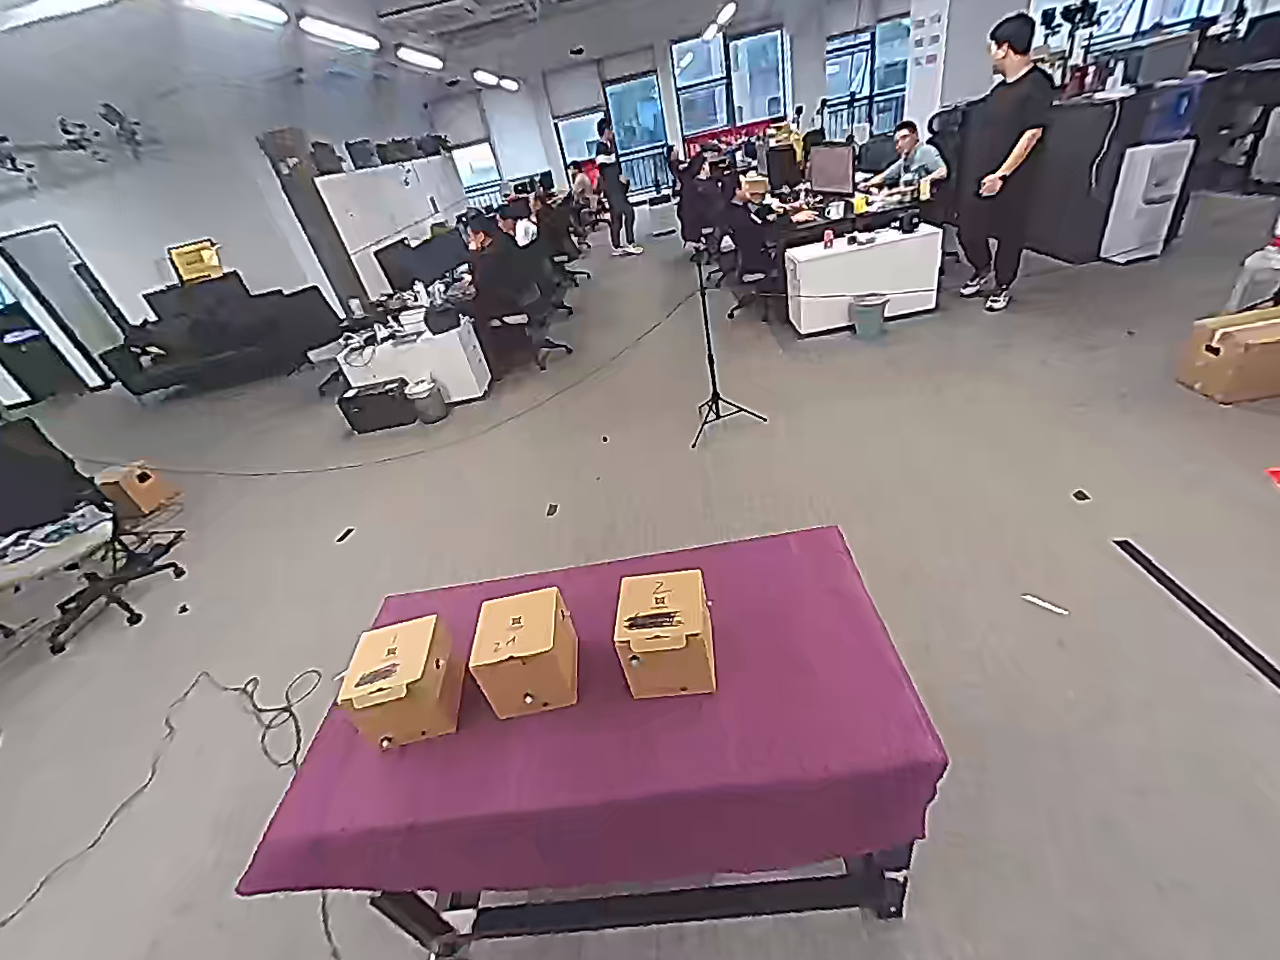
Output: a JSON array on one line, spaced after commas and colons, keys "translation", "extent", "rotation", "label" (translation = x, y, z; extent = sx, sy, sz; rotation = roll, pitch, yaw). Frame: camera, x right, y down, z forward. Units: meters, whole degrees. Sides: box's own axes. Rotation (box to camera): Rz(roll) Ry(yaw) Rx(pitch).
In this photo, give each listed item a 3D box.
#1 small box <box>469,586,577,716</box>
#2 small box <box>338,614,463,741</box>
[{"translation": [-0.232, 0.353, 1.122], "extent": [0.168, 0.176, 0.179], "rotation": [-12, 33, 3], "label": "small box"}, {"translation": [-0.482, 0.414, 1.121], "extent": [0.168, 0.176, 0.179], "rotation": [-14, 32, -1], "label": "small box"}]
